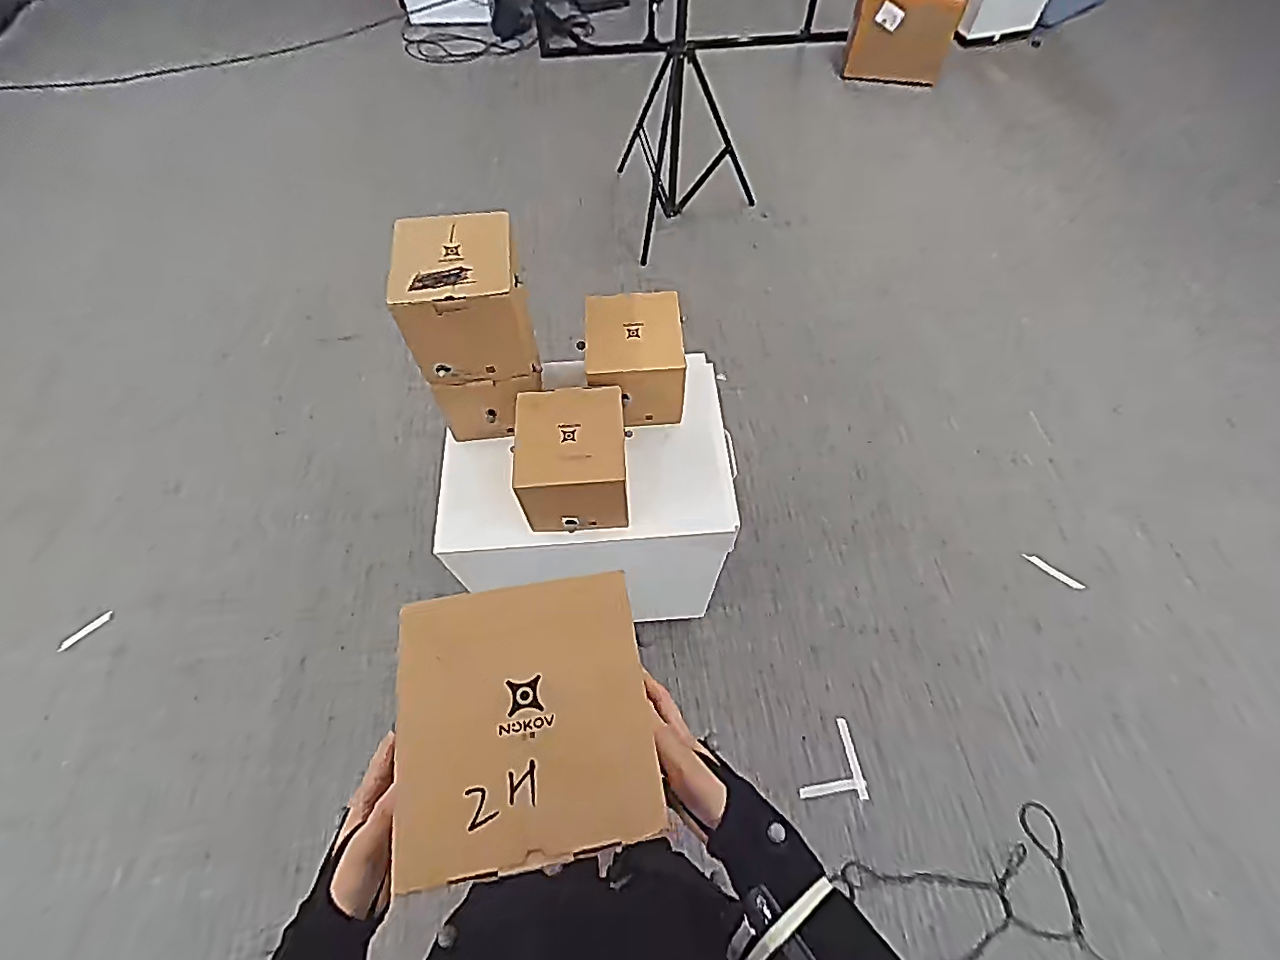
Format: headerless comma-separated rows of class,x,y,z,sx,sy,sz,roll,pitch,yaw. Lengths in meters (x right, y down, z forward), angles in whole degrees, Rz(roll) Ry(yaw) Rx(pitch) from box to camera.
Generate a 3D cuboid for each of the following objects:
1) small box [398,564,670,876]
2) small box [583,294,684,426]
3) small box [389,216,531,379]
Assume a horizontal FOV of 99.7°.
small box,-0.079,0.188,0.435,0.168,0.176,0.179,-8,61,-7
small box,-0.011,-0.209,0.985,0.168,0.176,0.179,-4,62,-1
small box,-0.264,-0.270,0.830,0.168,0.176,0.179,-7,62,-4
